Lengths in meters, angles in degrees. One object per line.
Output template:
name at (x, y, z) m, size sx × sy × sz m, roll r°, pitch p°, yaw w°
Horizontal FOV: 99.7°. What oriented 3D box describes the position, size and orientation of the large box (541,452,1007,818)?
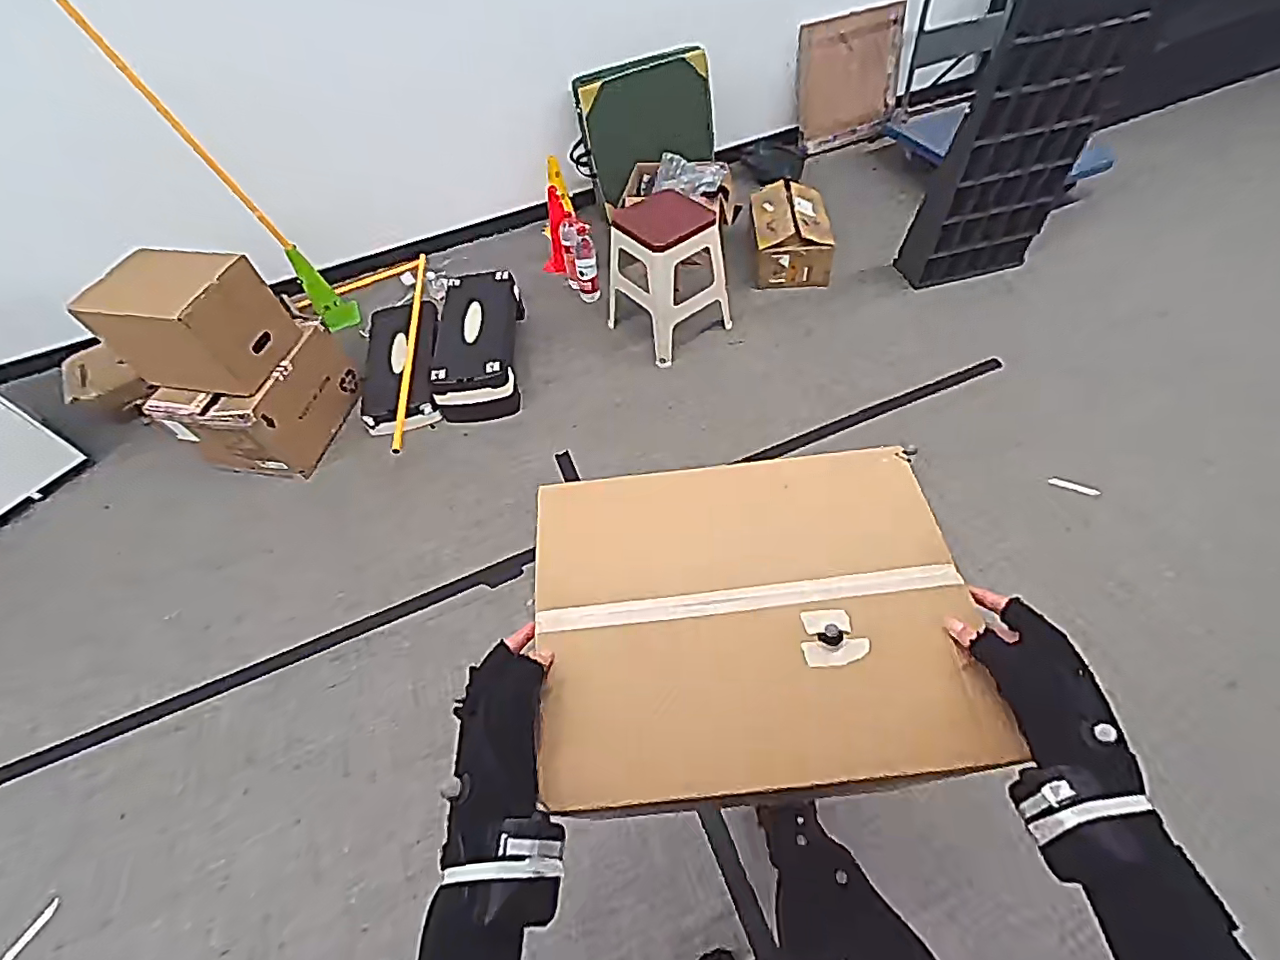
large box at (0.108, 0.201, 0.657) m, size 0.408 × 0.320 × 0.320 m, roll -7°, pitch 56°, yaw 1°
